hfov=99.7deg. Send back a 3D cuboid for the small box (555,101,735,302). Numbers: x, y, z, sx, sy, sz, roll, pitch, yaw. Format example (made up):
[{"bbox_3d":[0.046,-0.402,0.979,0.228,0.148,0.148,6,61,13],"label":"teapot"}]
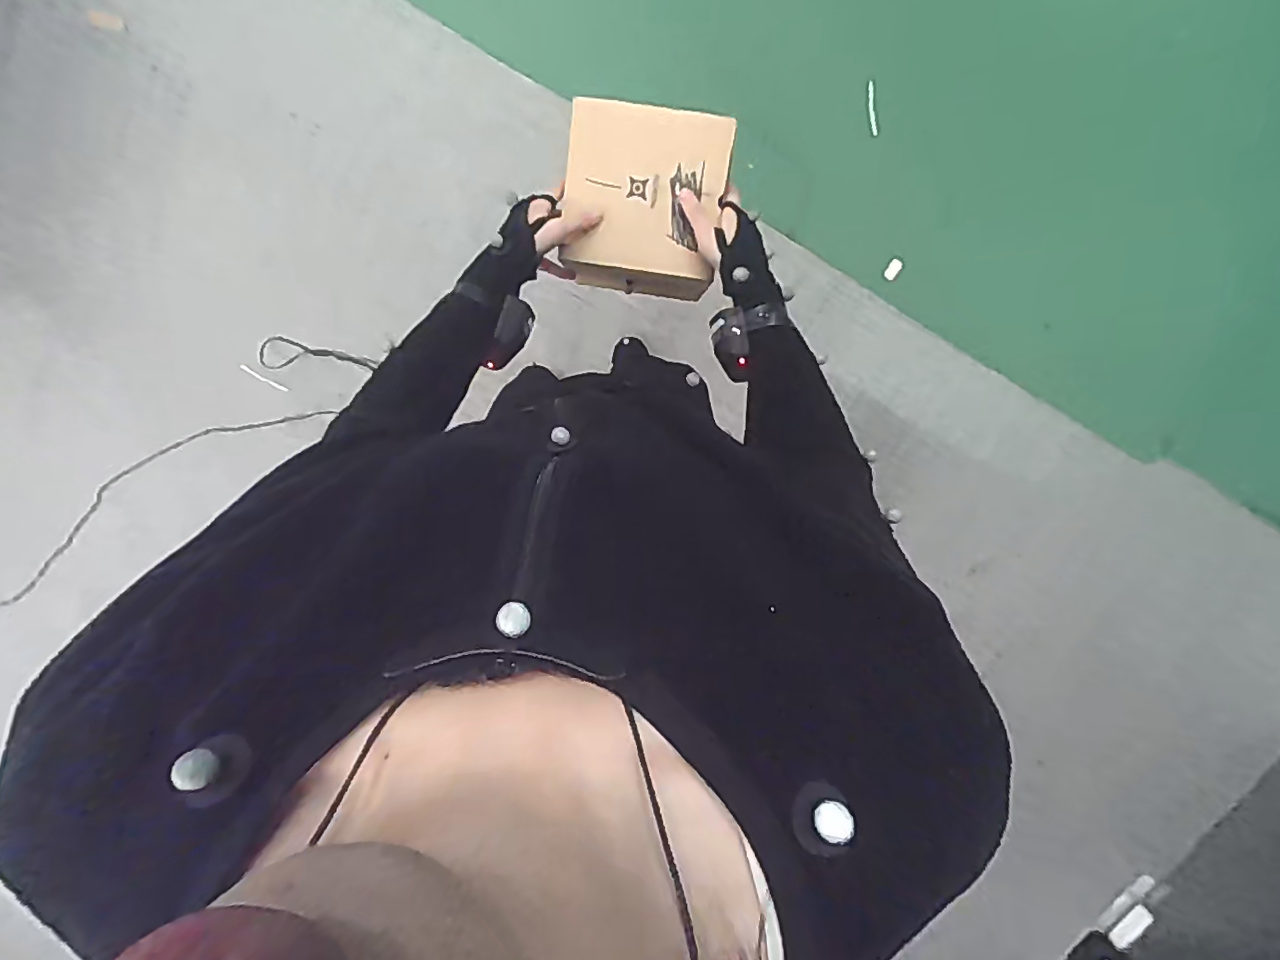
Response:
[{"bbox_3d":[0.004,-0.319,0.657,0.179,0.176,0.168,8,100,0],"label":"small box"}]
